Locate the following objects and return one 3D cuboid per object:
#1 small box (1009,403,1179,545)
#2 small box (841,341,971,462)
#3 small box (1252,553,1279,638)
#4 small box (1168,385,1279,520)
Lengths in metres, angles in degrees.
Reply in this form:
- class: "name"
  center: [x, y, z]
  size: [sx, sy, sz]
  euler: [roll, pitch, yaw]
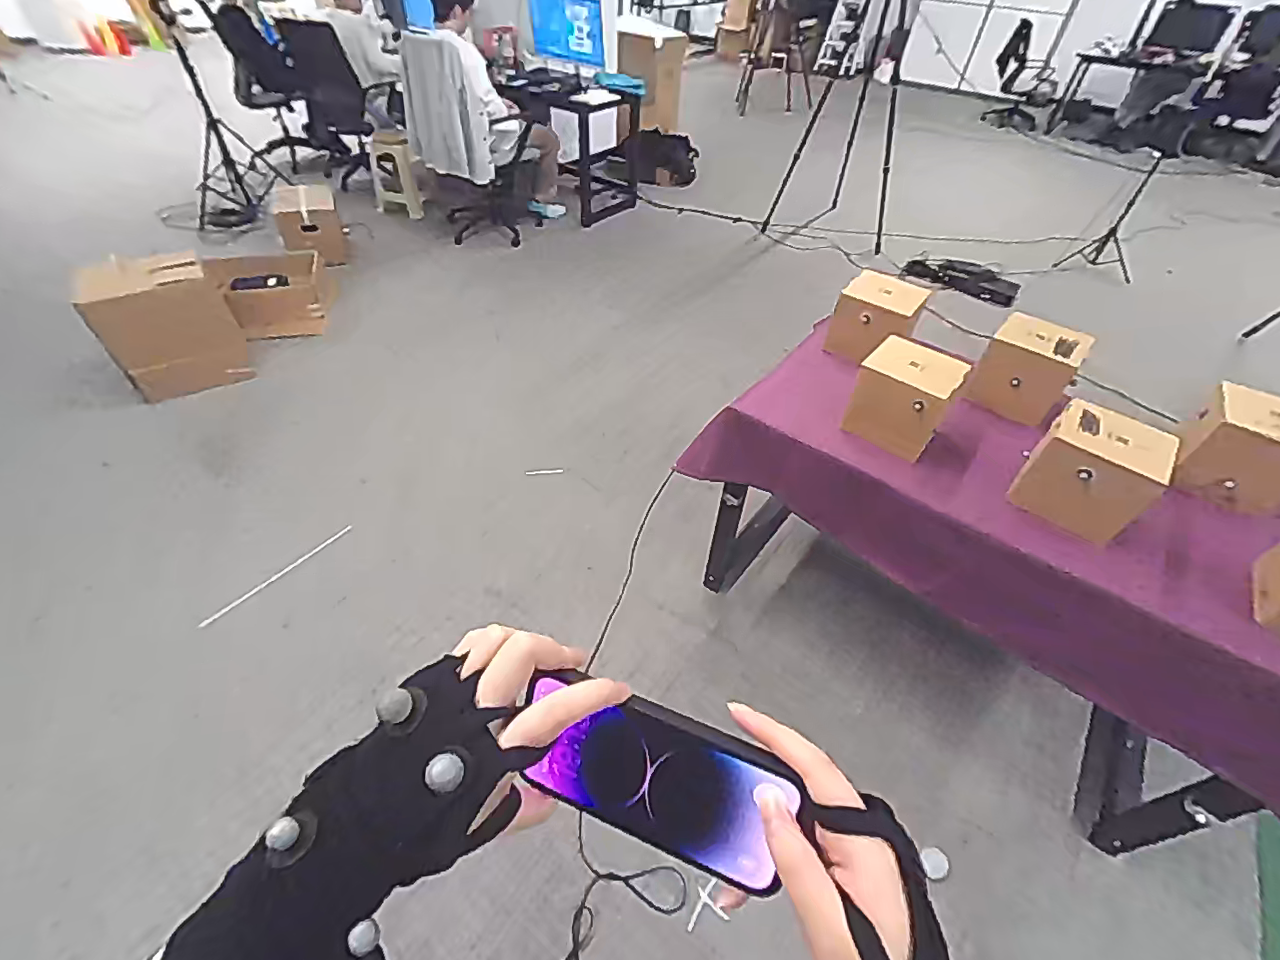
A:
- class: "small box"
  center: [0.844, -0.010, 1.019]
  size: [0.179, 0.176, 0.168]
  euler: [35, 53, 26]
- class: "small box"
  center: [0.560, -0.167, 1.158]
  size: [0.179, 0.176, 0.168]
  euler: [33, 52, 25]
- class: "small box"
  center: [1.134, 0.184, 0.843]
  size: [0.179, 0.176, 0.168]
  euler: [30, 51, 24]
- class: "small box"
  center: [1.201, -0.055, 1.084]
  size: [0.168, 0.176, 0.179]
  euler: [29, 51, 24]
